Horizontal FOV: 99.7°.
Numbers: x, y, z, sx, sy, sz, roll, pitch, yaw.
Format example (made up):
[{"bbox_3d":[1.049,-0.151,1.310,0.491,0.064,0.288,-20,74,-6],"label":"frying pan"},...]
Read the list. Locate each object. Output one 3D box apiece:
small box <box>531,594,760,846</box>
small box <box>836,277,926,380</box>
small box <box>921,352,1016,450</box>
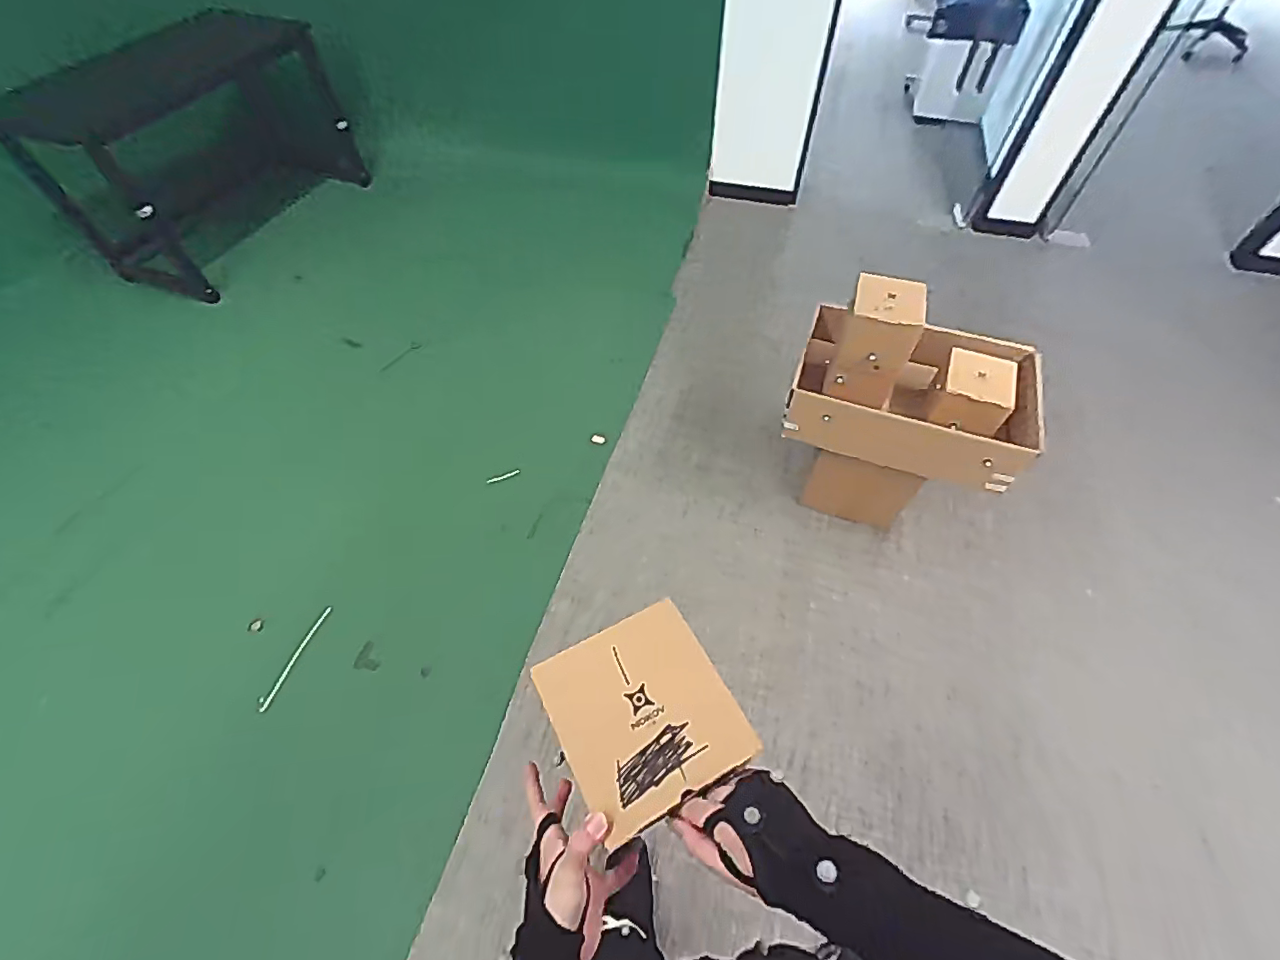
[{"bbox_3d":[0.000,0.259,0.583,0.168,0.176,0.179,-23,59,-18],"label":"small box"},{"bbox_3d":[0.617,-0.389,1.395,0.168,0.176,0.179,15,56,12],"label":"small box"},{"bbox_3d":[0.889,-0.213,1.472,0.168,0.176,0.179,19,58,13],"label":"small box"}]
